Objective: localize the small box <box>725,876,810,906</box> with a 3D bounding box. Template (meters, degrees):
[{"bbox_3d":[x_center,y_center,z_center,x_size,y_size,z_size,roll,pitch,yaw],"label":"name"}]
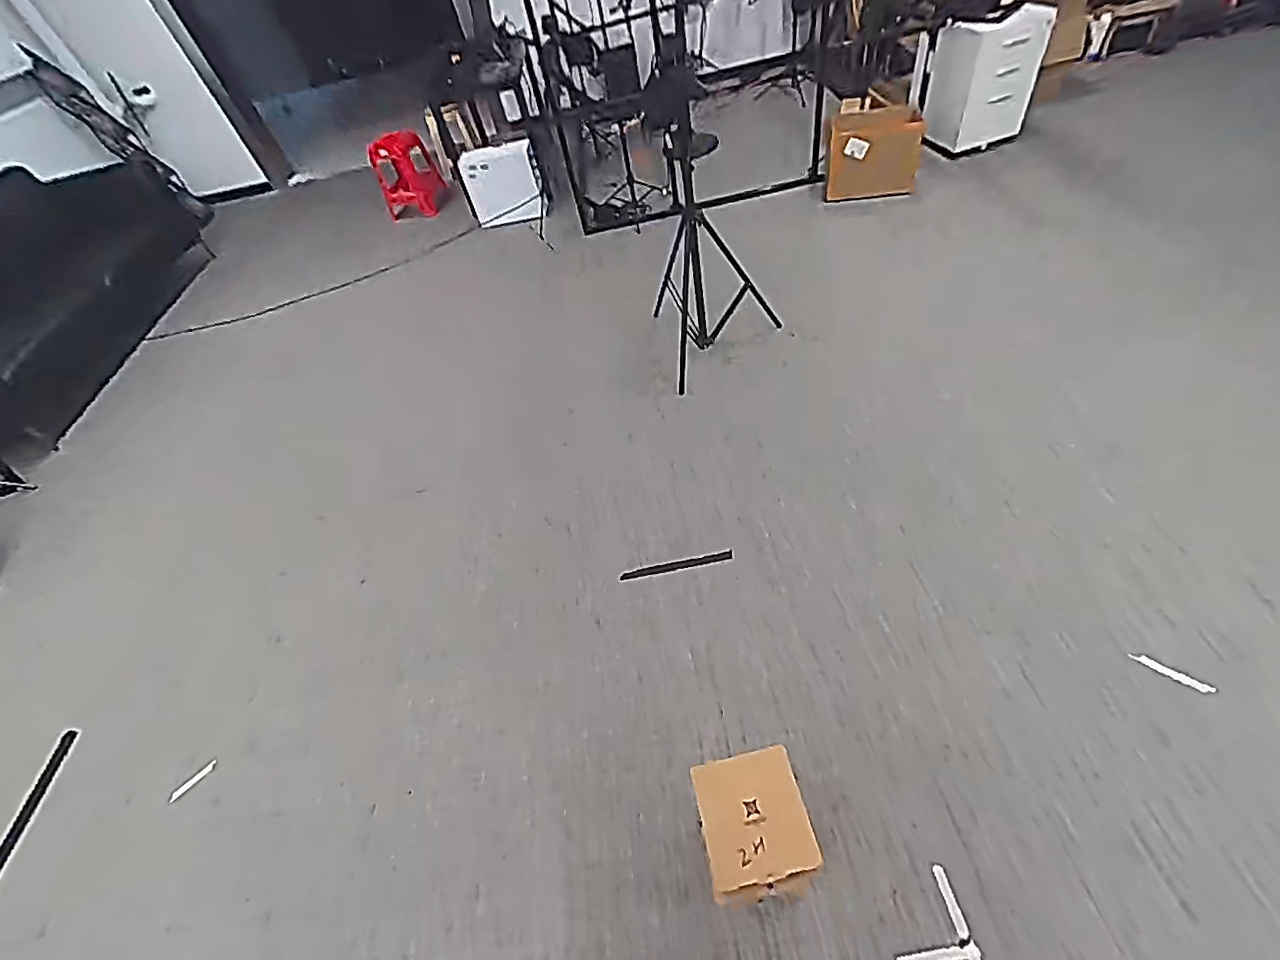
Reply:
[{"bbox_3d":[0.250,0.788,1.156,0.168,0.176,0.179,-12,49,3],"label":"small box"}]

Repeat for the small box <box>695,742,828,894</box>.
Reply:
[{"bbox_3d":[0.197,0.572,0.913,0.168,0.176,0.179,-15,50,1],"label":"small box"}]
